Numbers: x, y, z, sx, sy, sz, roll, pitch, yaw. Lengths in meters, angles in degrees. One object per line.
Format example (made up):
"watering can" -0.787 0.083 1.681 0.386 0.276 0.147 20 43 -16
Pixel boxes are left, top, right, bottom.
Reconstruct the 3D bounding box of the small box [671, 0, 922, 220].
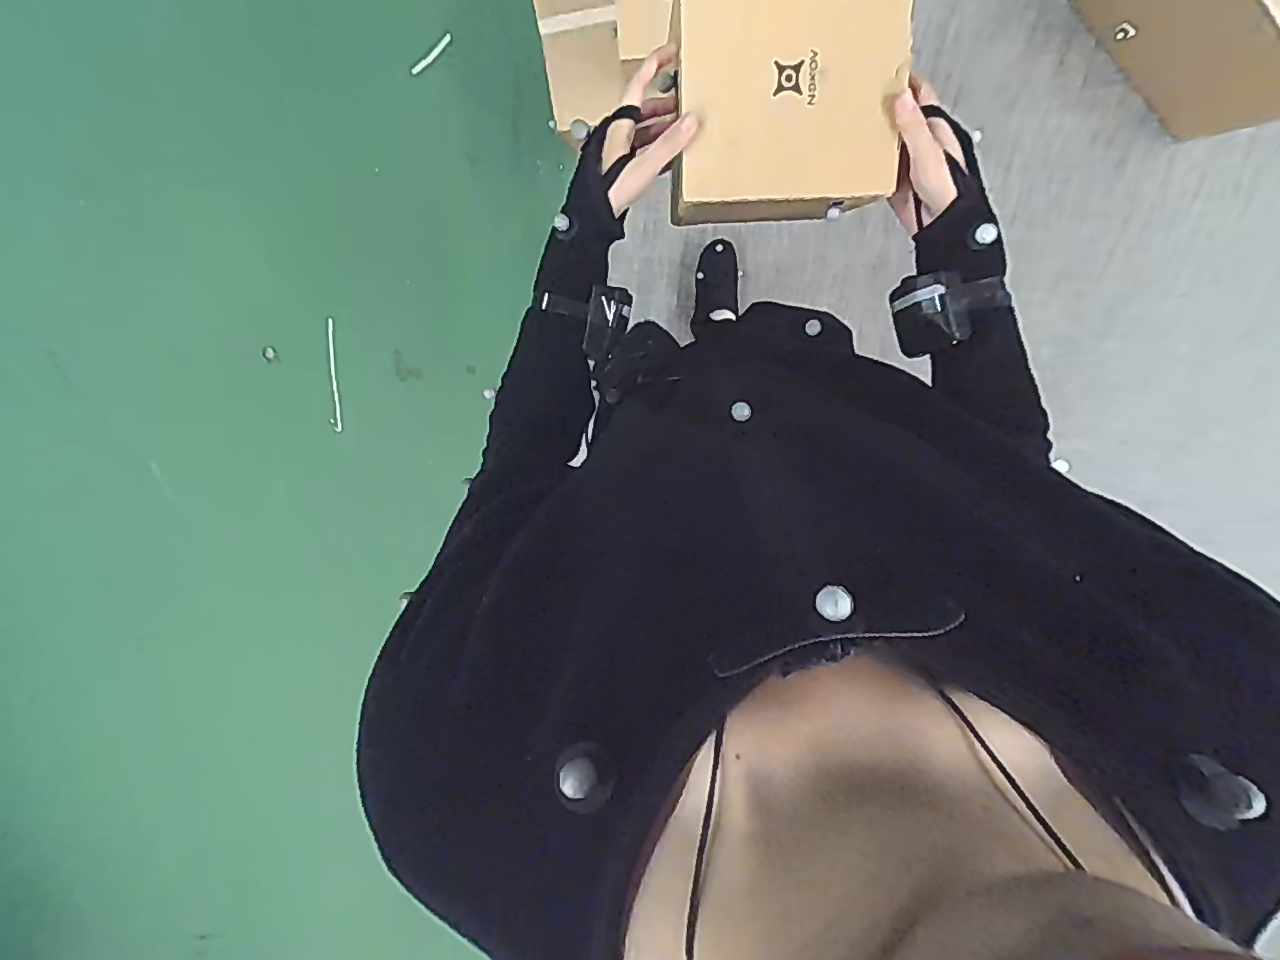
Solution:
"small box" 0.118 -0.332 0.479 0.179 0.176 0.168 -3 109 -1

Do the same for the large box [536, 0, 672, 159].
"large box" 0.035 -0.855 1.054 0.408 0.320 0.320 -6 110 7

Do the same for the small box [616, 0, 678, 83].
"small box" 0.051 -0.736 0.833 0.168 0.176 0.179 -1 112 3
